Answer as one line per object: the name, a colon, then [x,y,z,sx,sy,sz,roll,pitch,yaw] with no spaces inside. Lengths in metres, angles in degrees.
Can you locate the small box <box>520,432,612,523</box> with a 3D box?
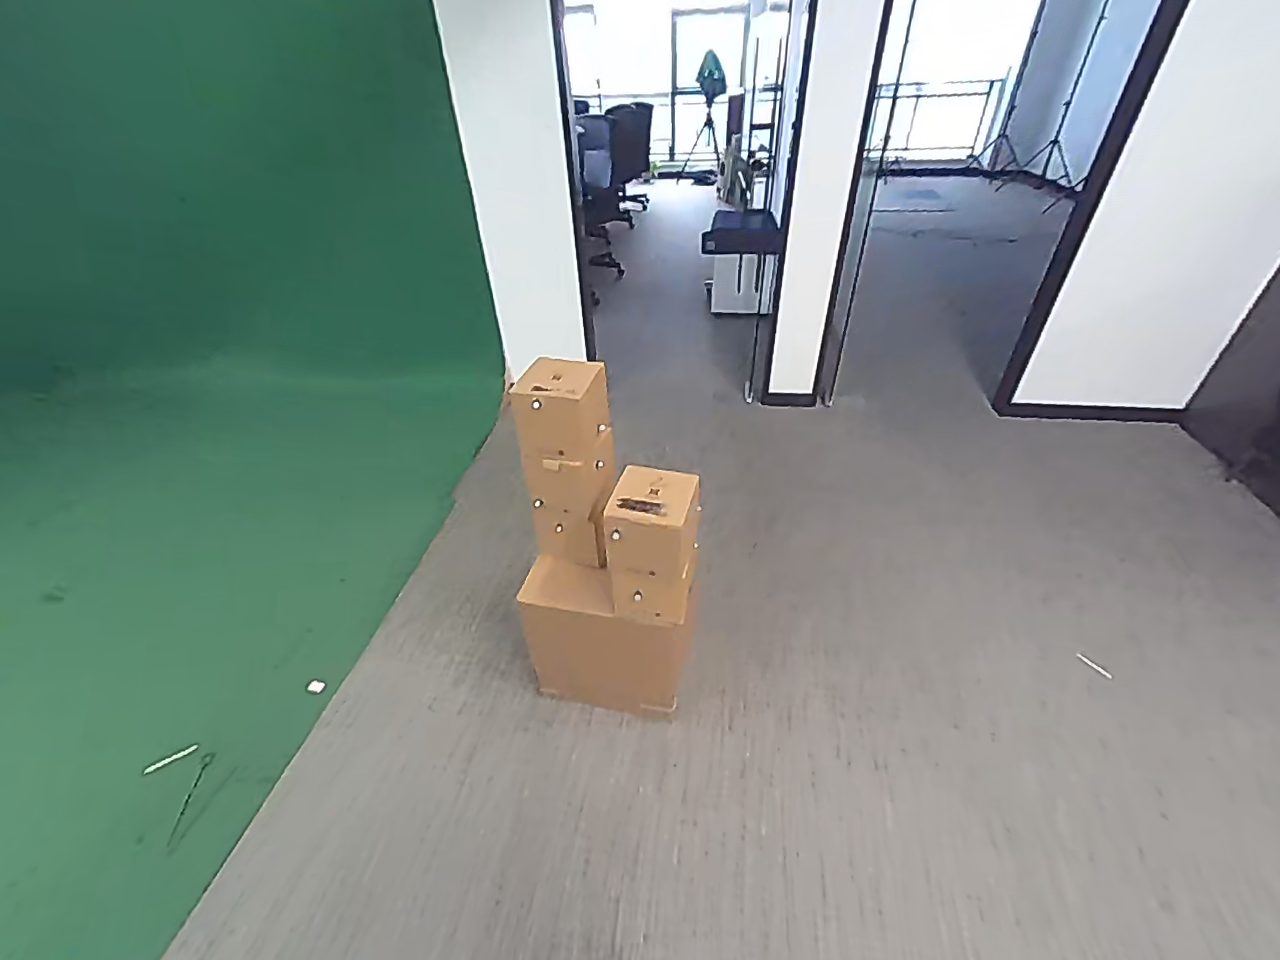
small box: [-0.174,-0.016,1.348,0.168,0.176,0.179,12,38,17]

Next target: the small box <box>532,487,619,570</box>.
small box: [-0.166,0.117,1.445,0.179,0.176,0.168,11,39,15]

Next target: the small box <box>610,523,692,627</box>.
small box: [0.033,0.227,1.290,0.168,0.176,0.179,5,38,9]

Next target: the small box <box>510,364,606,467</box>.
small box: [-0.181,-0.152,1.254,0.168,0.176,0.179,6,37,12]
